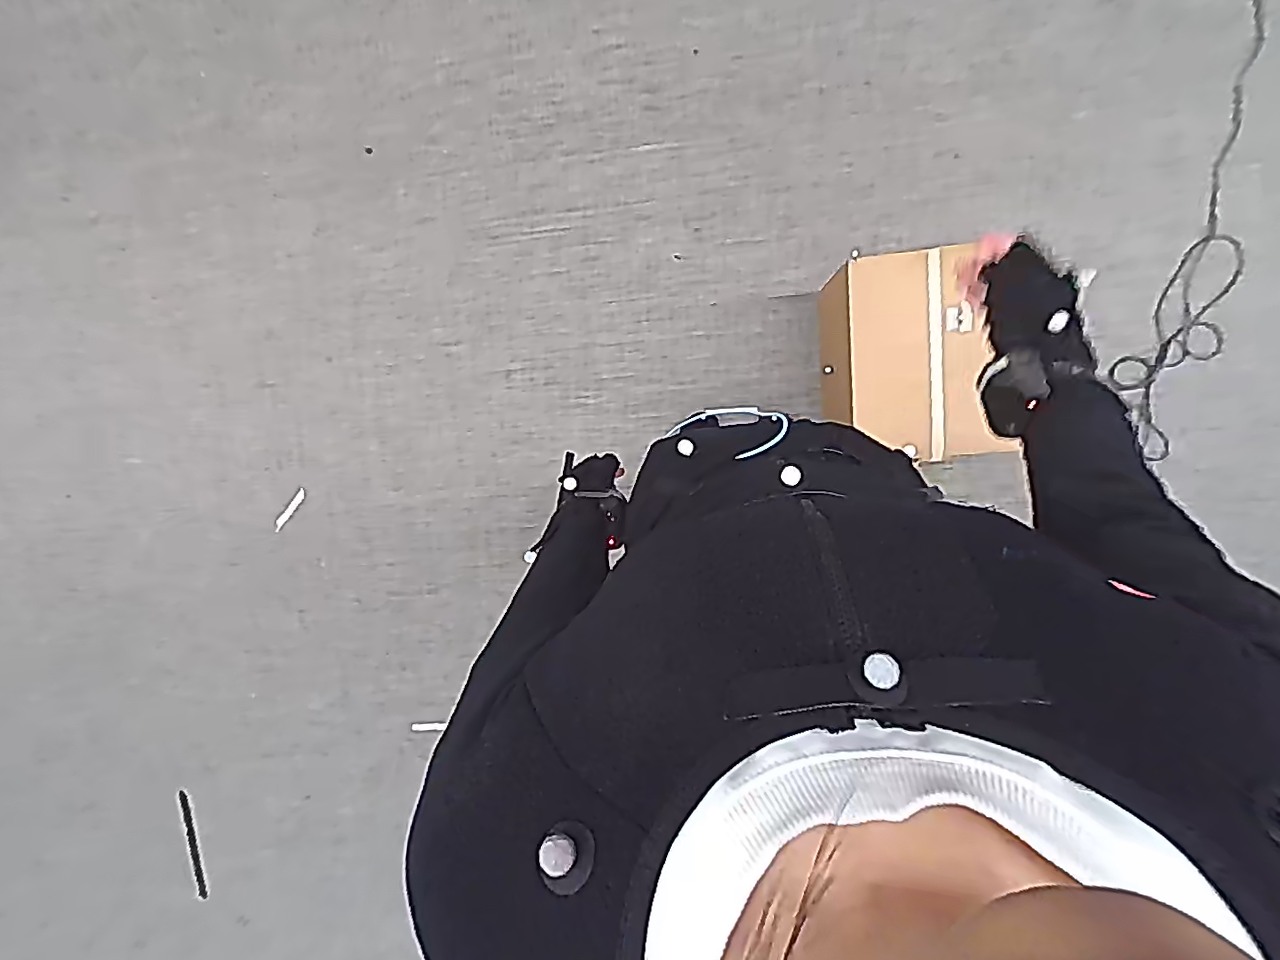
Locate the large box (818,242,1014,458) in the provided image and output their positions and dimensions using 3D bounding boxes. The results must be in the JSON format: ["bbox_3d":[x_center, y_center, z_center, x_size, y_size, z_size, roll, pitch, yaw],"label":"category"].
[{"bbox_3d":[0.597,-0.268,1.227,0.320,0.320,0.408,-4,96,7],"label":"large box"}]
